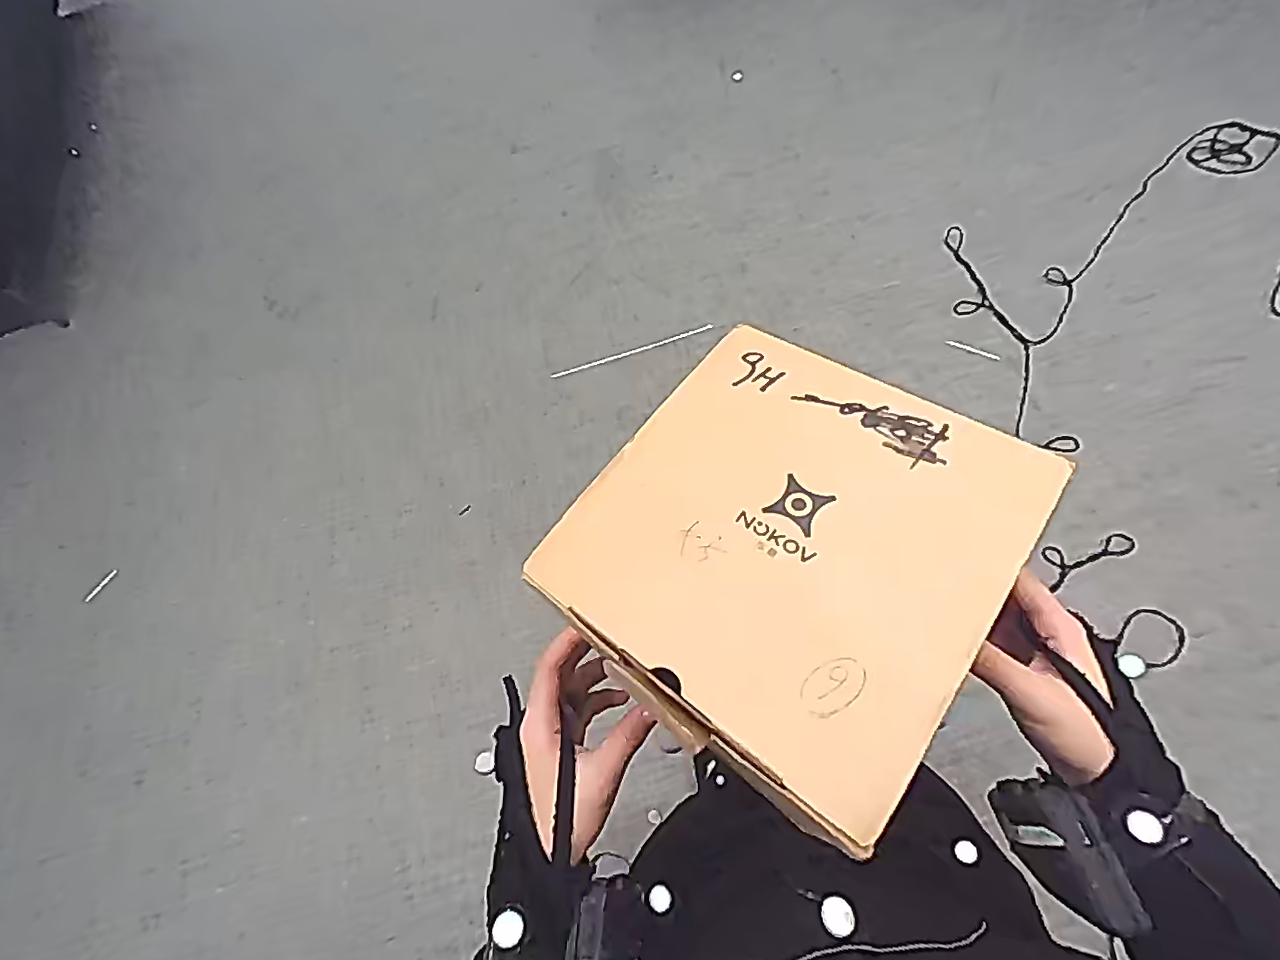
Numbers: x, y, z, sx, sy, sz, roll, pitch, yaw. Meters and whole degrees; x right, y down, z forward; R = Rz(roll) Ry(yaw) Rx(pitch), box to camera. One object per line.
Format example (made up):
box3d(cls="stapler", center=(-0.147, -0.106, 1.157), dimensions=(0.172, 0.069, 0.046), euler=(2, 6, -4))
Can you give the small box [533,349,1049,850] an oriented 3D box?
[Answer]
box3d(cls="small box", center=(0.077, 0.066, 0.309), dimensions=(0.168, 0.176, 0.179), euler=(32, 71, 26))
